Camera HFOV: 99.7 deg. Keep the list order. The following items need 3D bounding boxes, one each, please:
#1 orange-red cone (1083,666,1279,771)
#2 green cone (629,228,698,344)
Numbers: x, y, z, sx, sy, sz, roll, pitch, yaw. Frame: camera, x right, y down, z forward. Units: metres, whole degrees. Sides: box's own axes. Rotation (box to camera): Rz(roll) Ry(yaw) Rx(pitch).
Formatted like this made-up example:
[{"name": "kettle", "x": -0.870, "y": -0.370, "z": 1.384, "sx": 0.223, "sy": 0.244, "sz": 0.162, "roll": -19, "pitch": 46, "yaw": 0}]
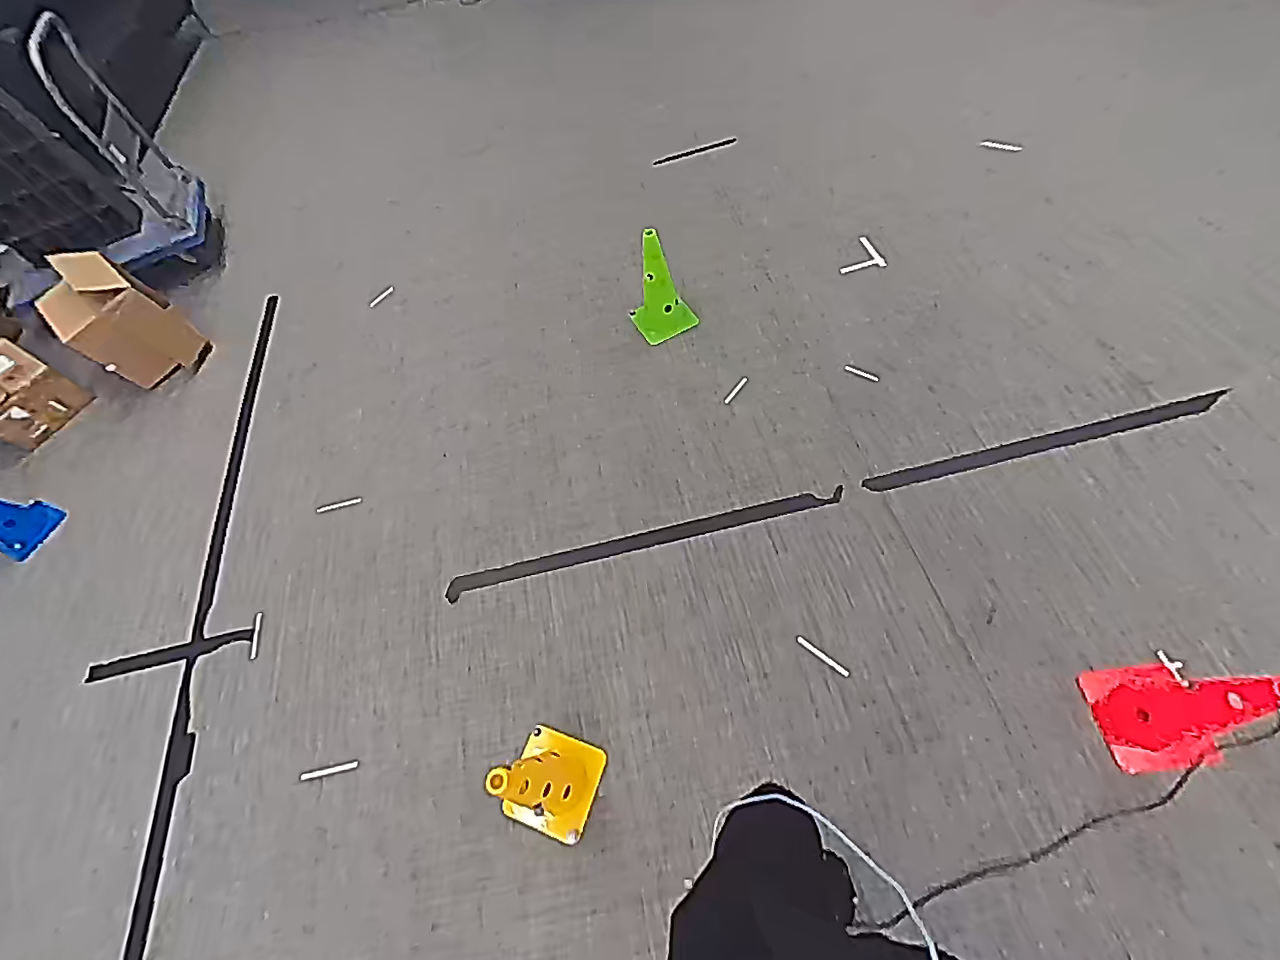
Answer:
[{"name": "orange-red cone", "x": 1.051, "y": 0.416, "z": 1.000, "sx": 0.199, "sy": 0.360, "sz": 0.198, "roll": -9, "pitch": 58, "yaw": 7}, {"name": "green cone", "x": 0.060, "y": -0.674, "z": 1.826, "sx": 0.202, "sy": 0.368, "sz": 0.200, "roll": -28, "pitch": 59, "yaw": -7}]
